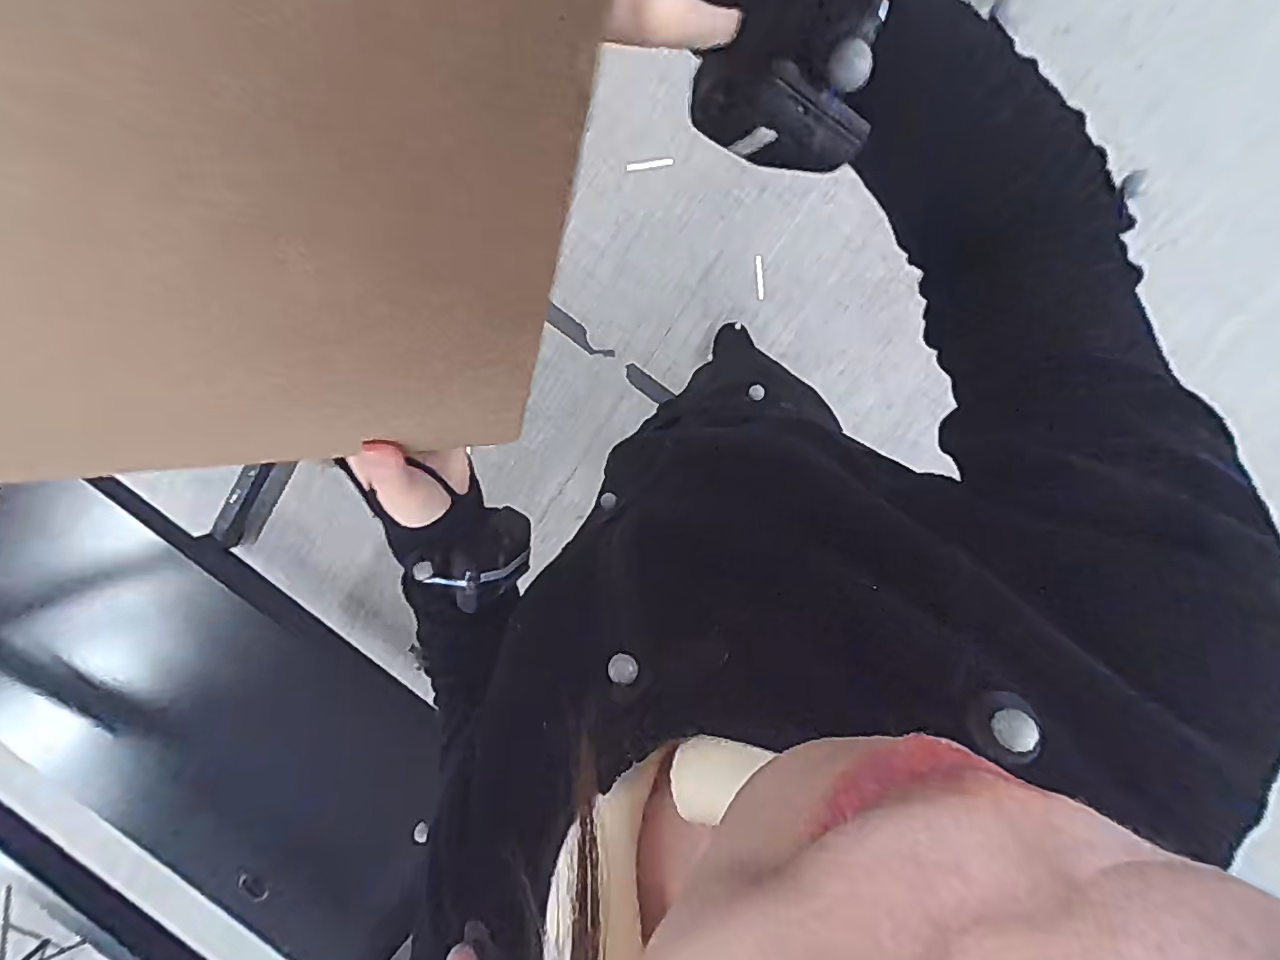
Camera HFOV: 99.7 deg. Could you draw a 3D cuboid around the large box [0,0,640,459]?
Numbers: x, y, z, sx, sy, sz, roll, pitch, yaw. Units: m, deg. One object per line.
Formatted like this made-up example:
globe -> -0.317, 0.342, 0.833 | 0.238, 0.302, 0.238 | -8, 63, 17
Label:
large box -> -0.229, -0.182, 0.122 | 0.408, 0.320, 0.320 | -5, 81, -15
